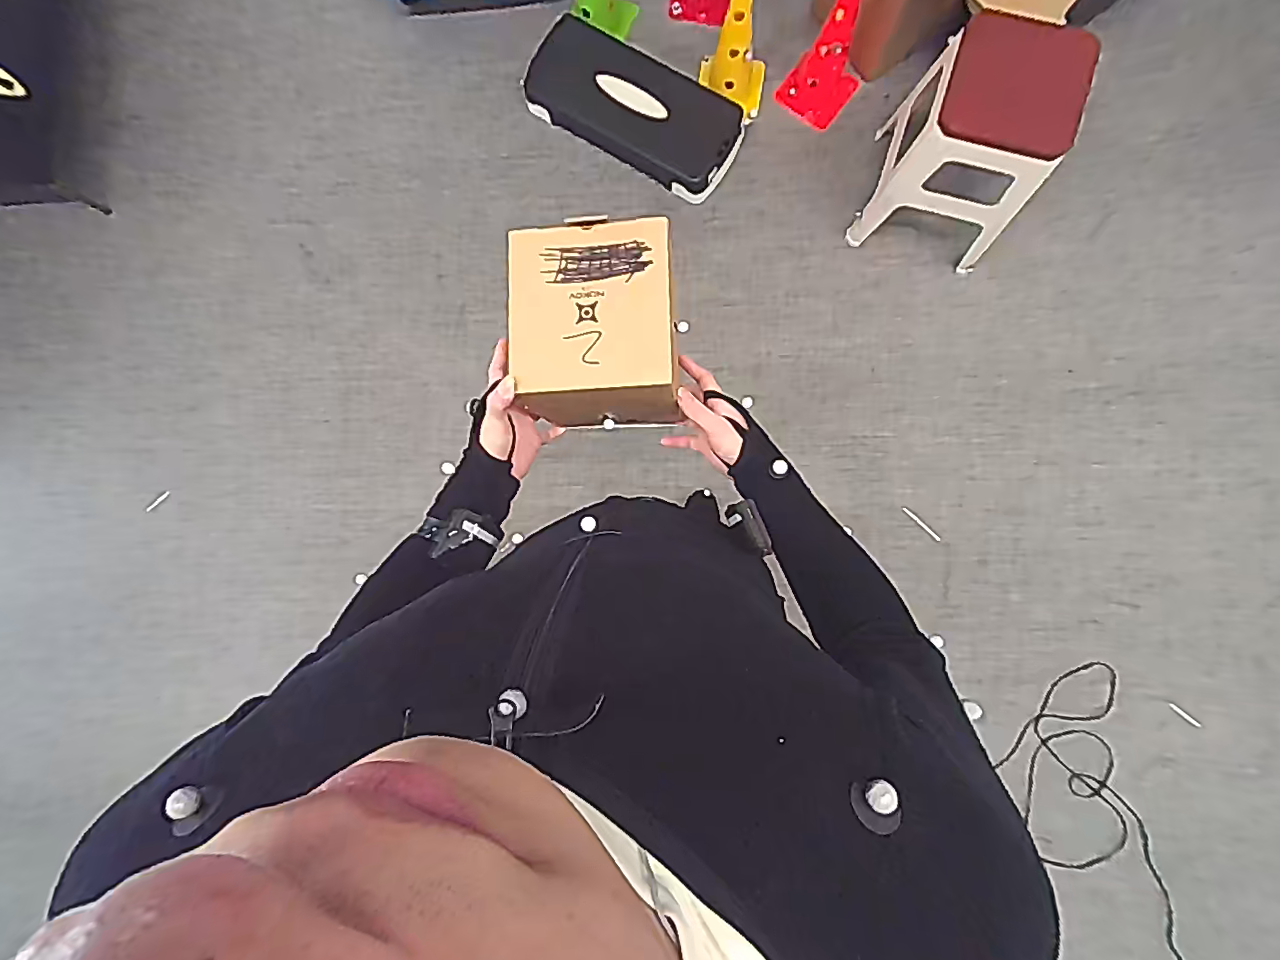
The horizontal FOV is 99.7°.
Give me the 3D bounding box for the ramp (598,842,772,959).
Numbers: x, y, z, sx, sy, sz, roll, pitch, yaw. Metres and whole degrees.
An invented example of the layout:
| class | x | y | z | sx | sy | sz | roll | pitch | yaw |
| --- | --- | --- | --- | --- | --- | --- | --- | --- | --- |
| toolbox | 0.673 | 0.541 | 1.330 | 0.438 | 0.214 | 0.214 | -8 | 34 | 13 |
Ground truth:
| class | x | y | z | sx | sy | sz | roll | pitch | yaw |
| --- | --- | --- | --- | --- | --- | --- | --- | --- | --- |
| ramp | 0.127 | 1.553 | 1.476 | 0.509 | 0.206 | 0.991 | -3 | 87 | 5 |
